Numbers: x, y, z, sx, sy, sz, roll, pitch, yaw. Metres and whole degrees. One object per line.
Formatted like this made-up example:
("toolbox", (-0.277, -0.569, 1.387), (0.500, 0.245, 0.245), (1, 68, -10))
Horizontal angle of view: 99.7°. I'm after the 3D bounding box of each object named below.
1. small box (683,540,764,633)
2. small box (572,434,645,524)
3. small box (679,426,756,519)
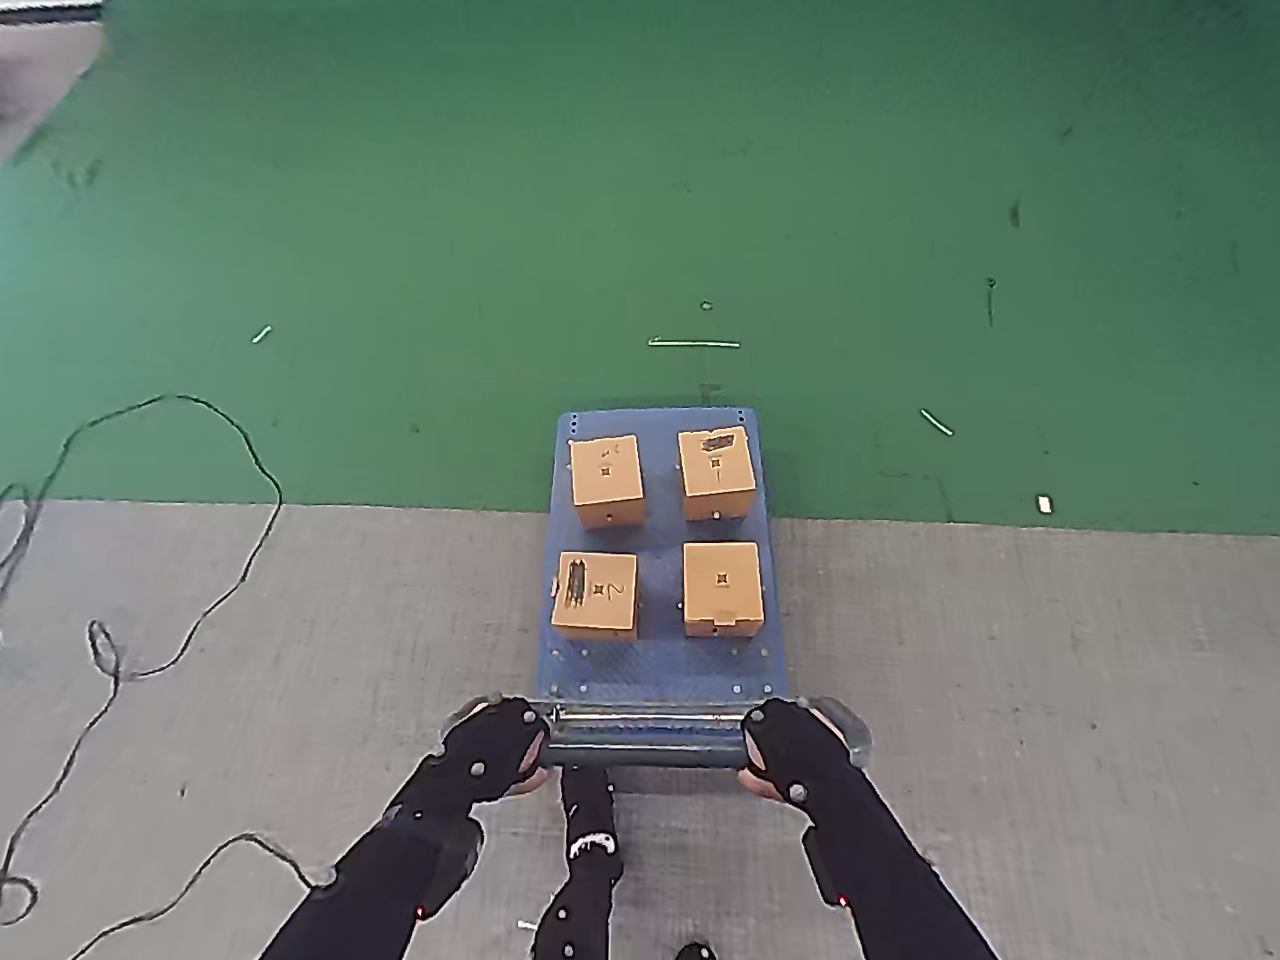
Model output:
("small box", (0.184, 0.248, 1.246), (0.168, 0.176, 0.179), (-1, 65, 3))
("small box", (-0.077, 0.005, 1.378), (0.168, 0.176, 0.179), (-6, 64, 0))
("small box", (0.188, -0.016, 1.373), (0.168, 0.176, 0.179), (-6, 65, 1))
